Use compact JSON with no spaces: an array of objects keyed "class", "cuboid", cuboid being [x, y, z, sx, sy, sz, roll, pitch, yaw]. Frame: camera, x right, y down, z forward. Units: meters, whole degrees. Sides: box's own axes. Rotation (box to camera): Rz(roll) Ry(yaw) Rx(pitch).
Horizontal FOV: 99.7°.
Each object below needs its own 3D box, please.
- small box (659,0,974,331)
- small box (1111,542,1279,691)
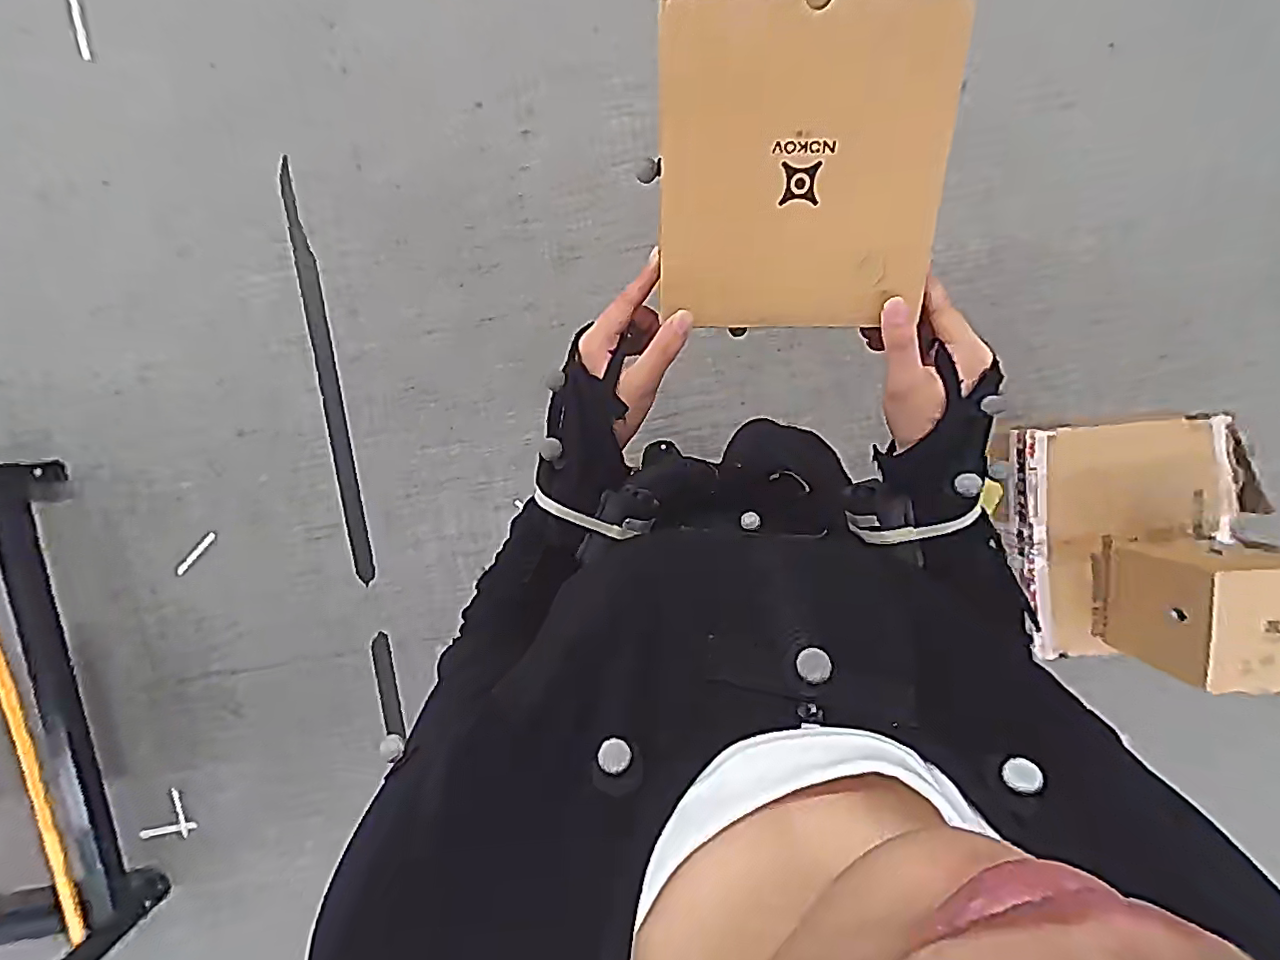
[{"class":"small box","cuboid":[0.099,-0.209,0.390,0.168,0.176,0.179,0,112,3]},{"class":"small box","cuboid":[0.856,0.192,0.807,0.168,0.176,0.179,-2,97,2]}]
